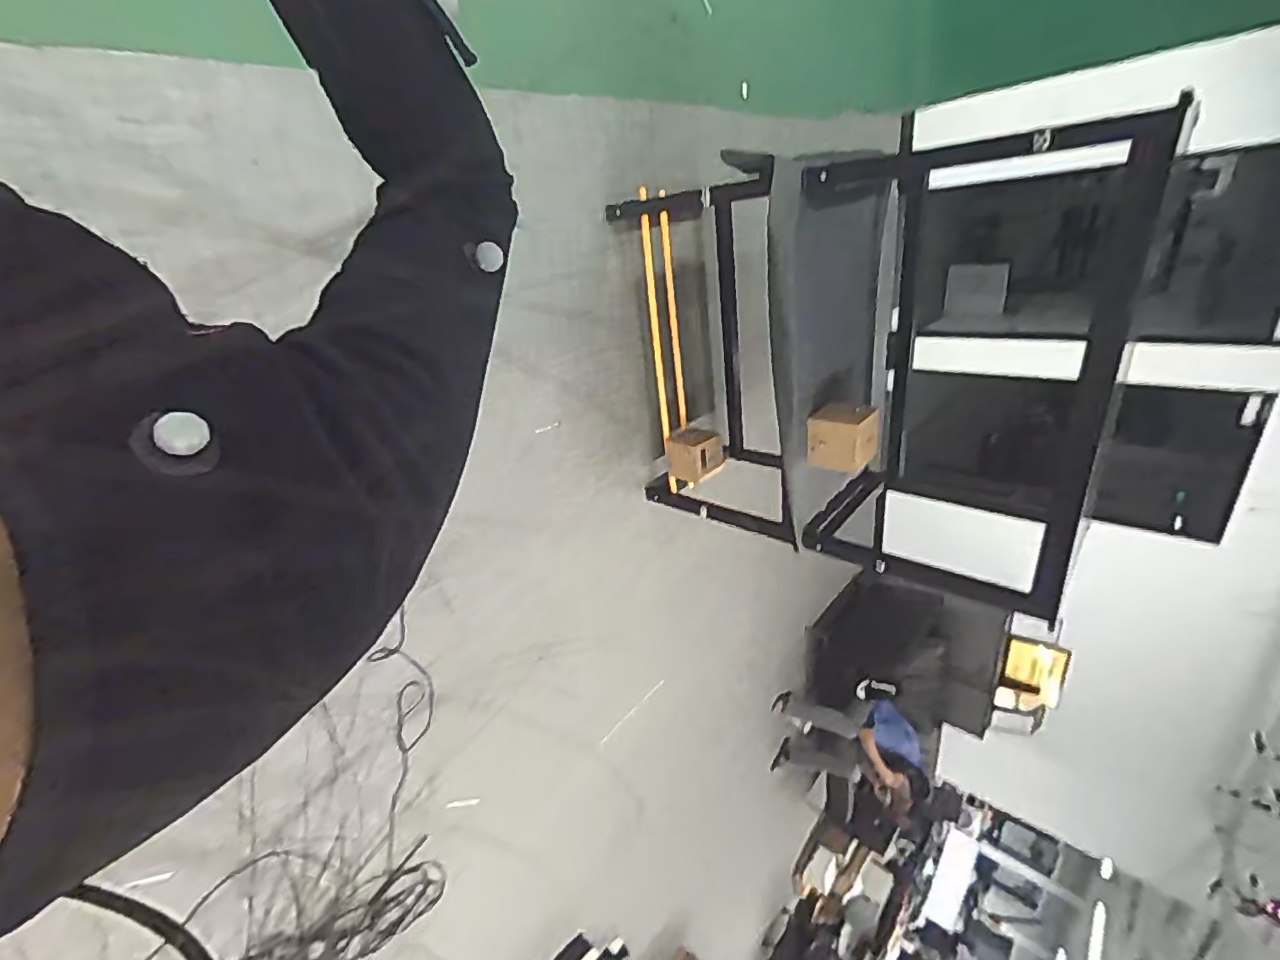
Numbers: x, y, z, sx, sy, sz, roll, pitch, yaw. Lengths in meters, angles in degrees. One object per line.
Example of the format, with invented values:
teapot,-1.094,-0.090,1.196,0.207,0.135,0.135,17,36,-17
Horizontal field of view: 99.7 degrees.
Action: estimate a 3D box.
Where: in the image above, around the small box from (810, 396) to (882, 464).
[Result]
small box,0.676,-0.171,1.777,0.179,0.176,0.168,-32,124,-39
